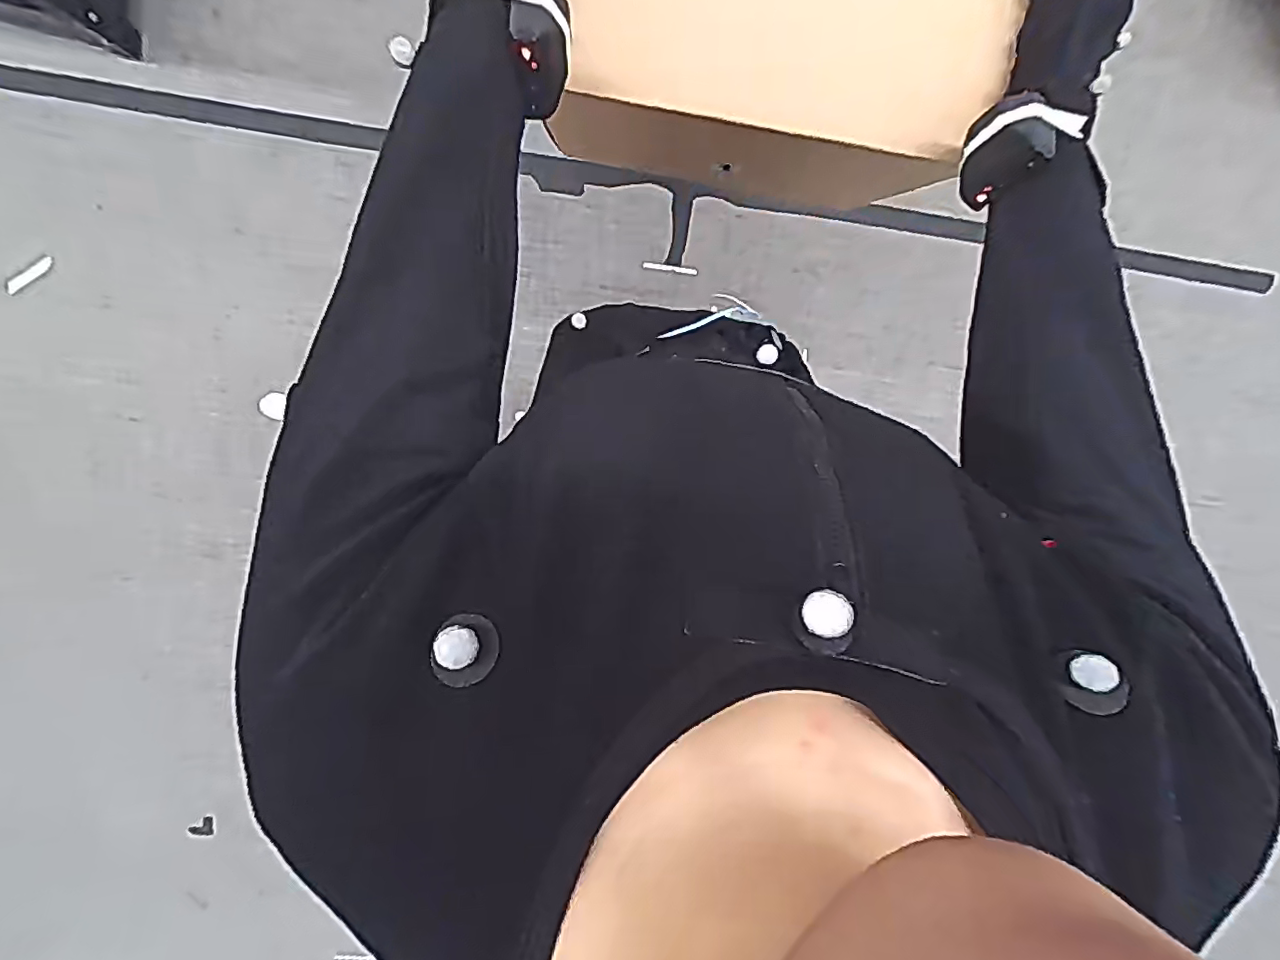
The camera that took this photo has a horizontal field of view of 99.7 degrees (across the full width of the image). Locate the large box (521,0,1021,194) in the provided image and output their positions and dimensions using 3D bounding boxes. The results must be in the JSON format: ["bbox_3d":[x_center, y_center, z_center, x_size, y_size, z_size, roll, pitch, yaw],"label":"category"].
[{"bbox_3d":[0.120,-0.506,0.547,0.408,0.320,0.320,9,110,-4],"label":"large box"}]
